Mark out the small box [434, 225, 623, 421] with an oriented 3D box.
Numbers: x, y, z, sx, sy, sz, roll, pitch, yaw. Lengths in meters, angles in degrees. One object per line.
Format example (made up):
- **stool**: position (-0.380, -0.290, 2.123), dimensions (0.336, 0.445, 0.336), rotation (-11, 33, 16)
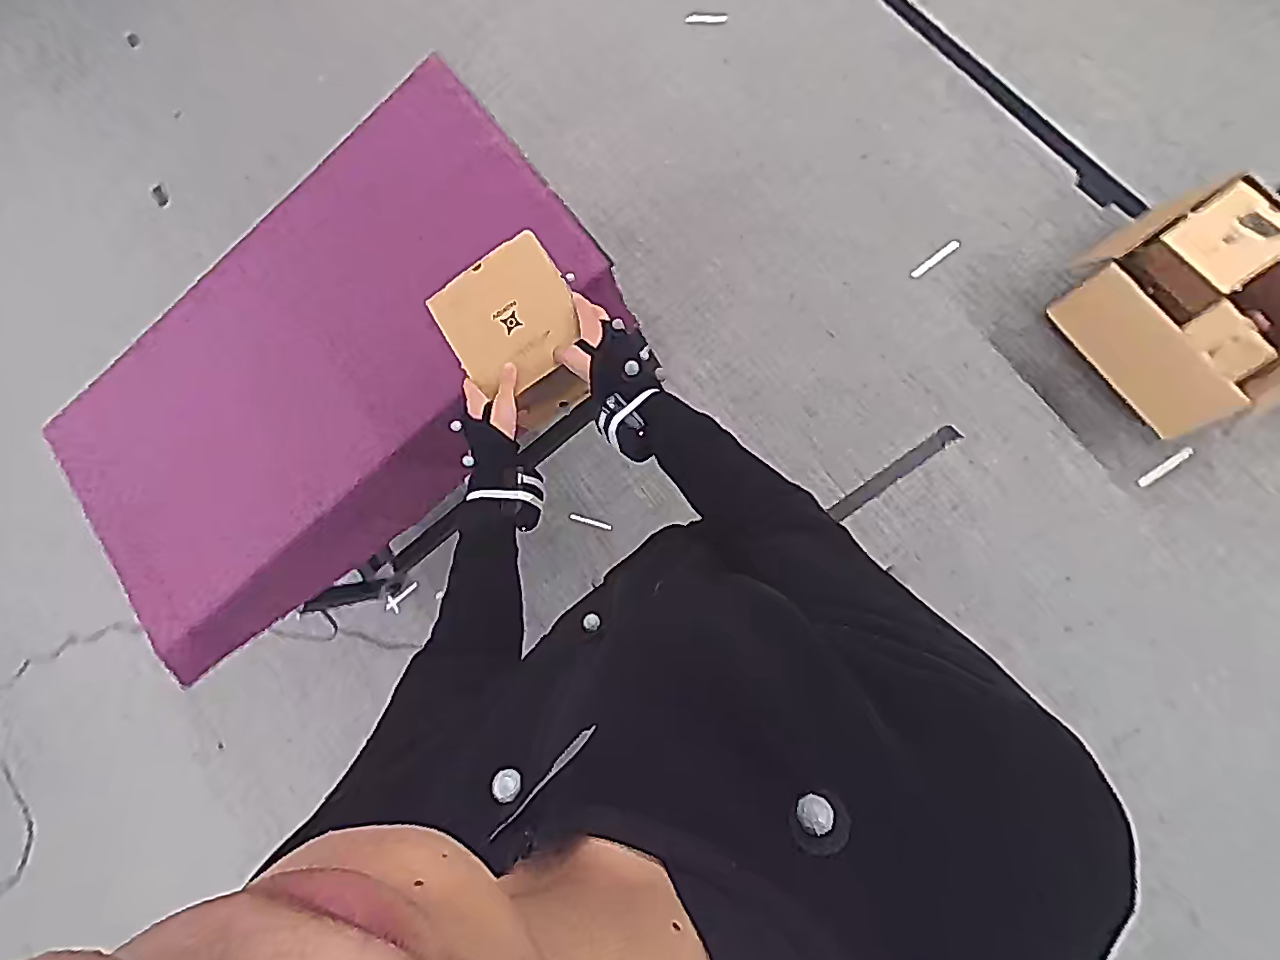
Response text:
- **small box**: position (-0.144, -0.205, 0.756), dimensions (0.168, 0.176, 0.179), rotation (-32, 82, 6)
